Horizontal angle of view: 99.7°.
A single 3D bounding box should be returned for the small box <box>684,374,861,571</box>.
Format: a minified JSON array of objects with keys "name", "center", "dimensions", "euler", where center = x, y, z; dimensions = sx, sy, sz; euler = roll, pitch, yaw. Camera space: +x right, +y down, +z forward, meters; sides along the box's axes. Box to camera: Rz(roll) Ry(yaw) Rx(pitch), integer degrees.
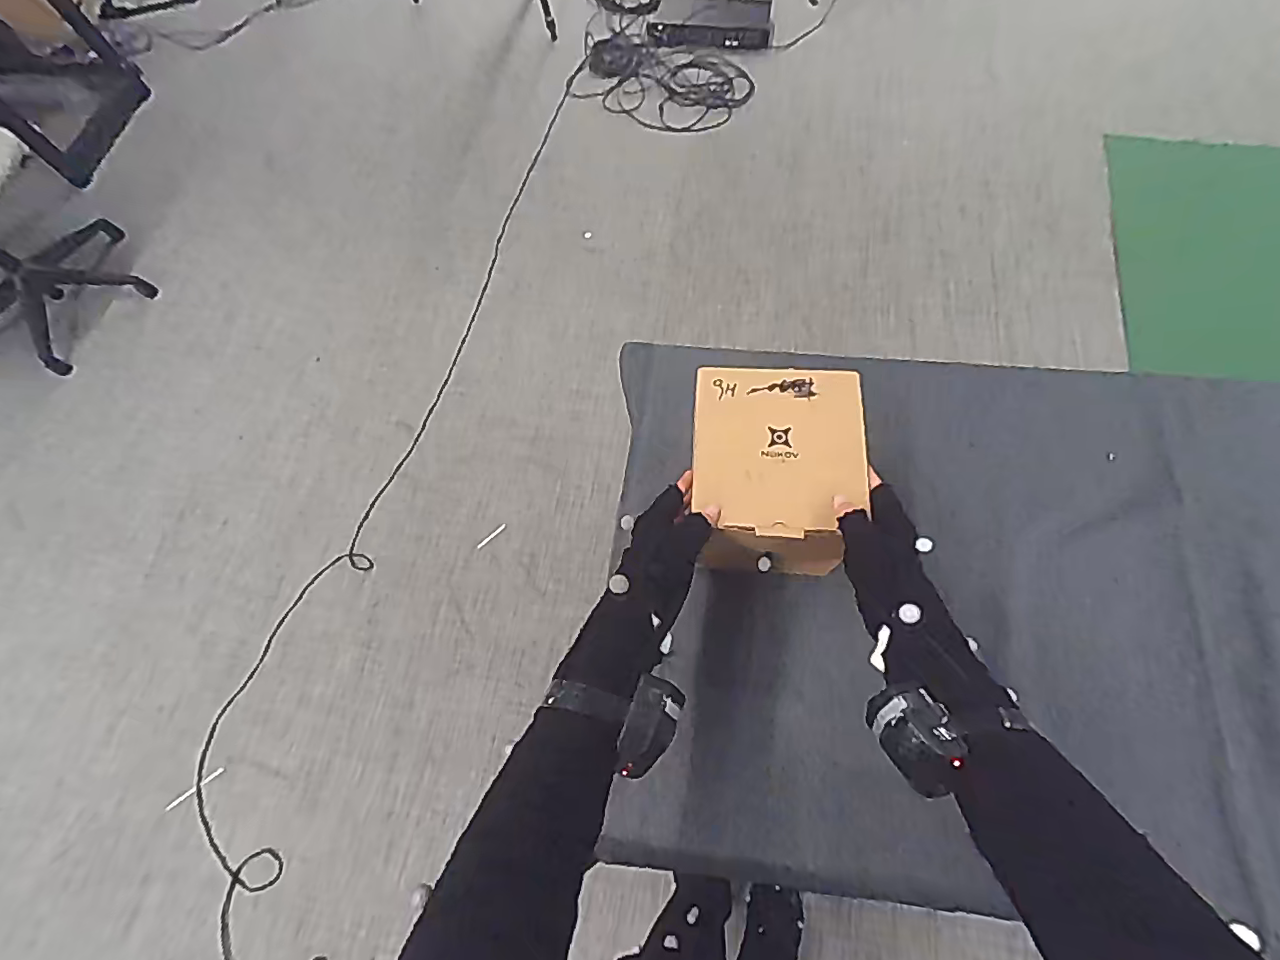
[{"name":"small box","center":[0.138,0.000,0.608],"dimensions":[0.168,0.176,0.179],"euler":[2,69,6]}]
